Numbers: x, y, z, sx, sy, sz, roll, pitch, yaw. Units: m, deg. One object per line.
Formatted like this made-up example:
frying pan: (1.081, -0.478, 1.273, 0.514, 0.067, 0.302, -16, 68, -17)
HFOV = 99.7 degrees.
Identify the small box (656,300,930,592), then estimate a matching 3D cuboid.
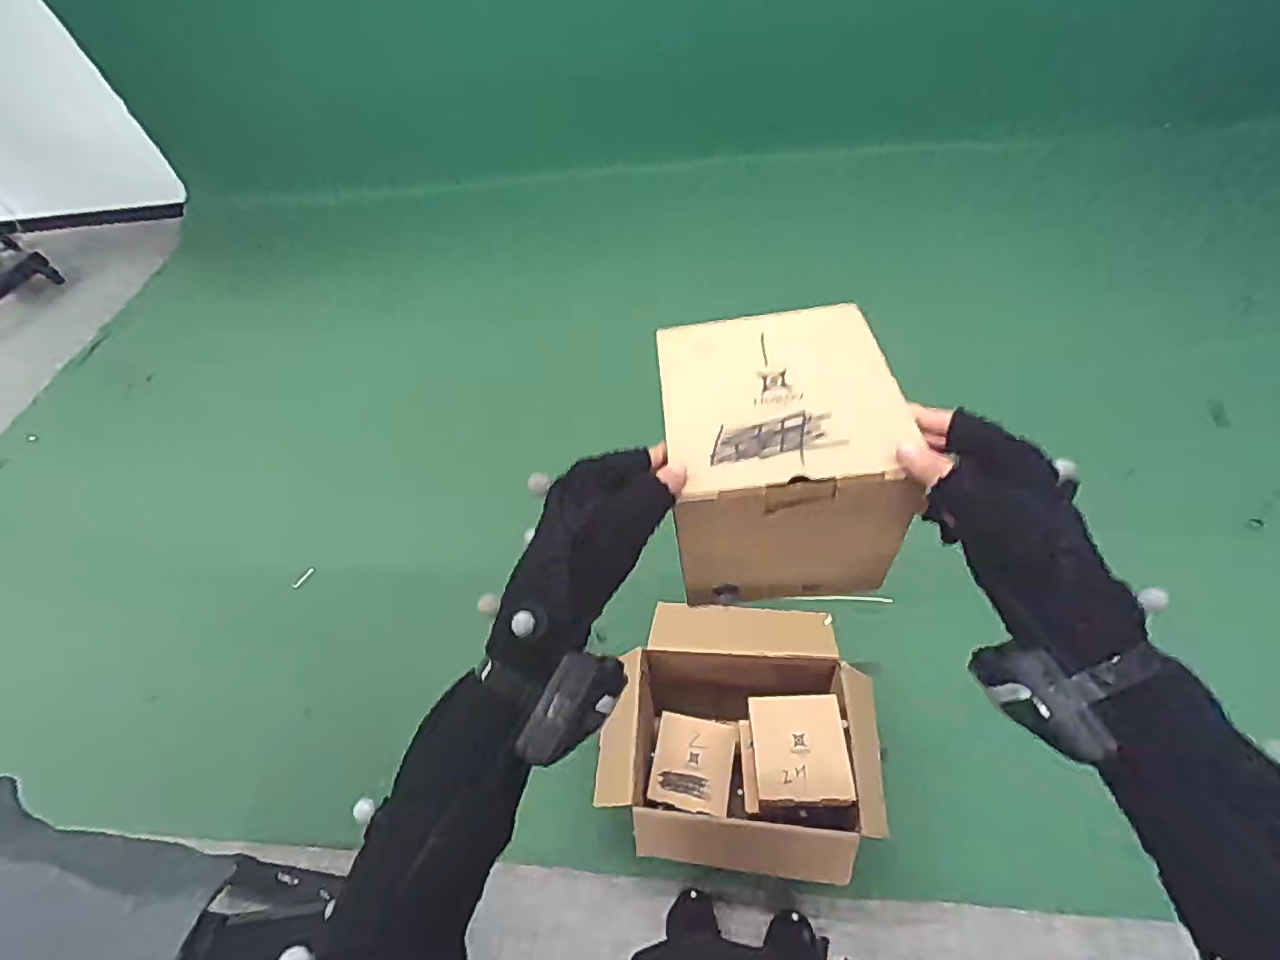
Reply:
small box: (0.107, -0.018, 0.449, 0.168, 0.176, 0.179, -6, 52, 5)
